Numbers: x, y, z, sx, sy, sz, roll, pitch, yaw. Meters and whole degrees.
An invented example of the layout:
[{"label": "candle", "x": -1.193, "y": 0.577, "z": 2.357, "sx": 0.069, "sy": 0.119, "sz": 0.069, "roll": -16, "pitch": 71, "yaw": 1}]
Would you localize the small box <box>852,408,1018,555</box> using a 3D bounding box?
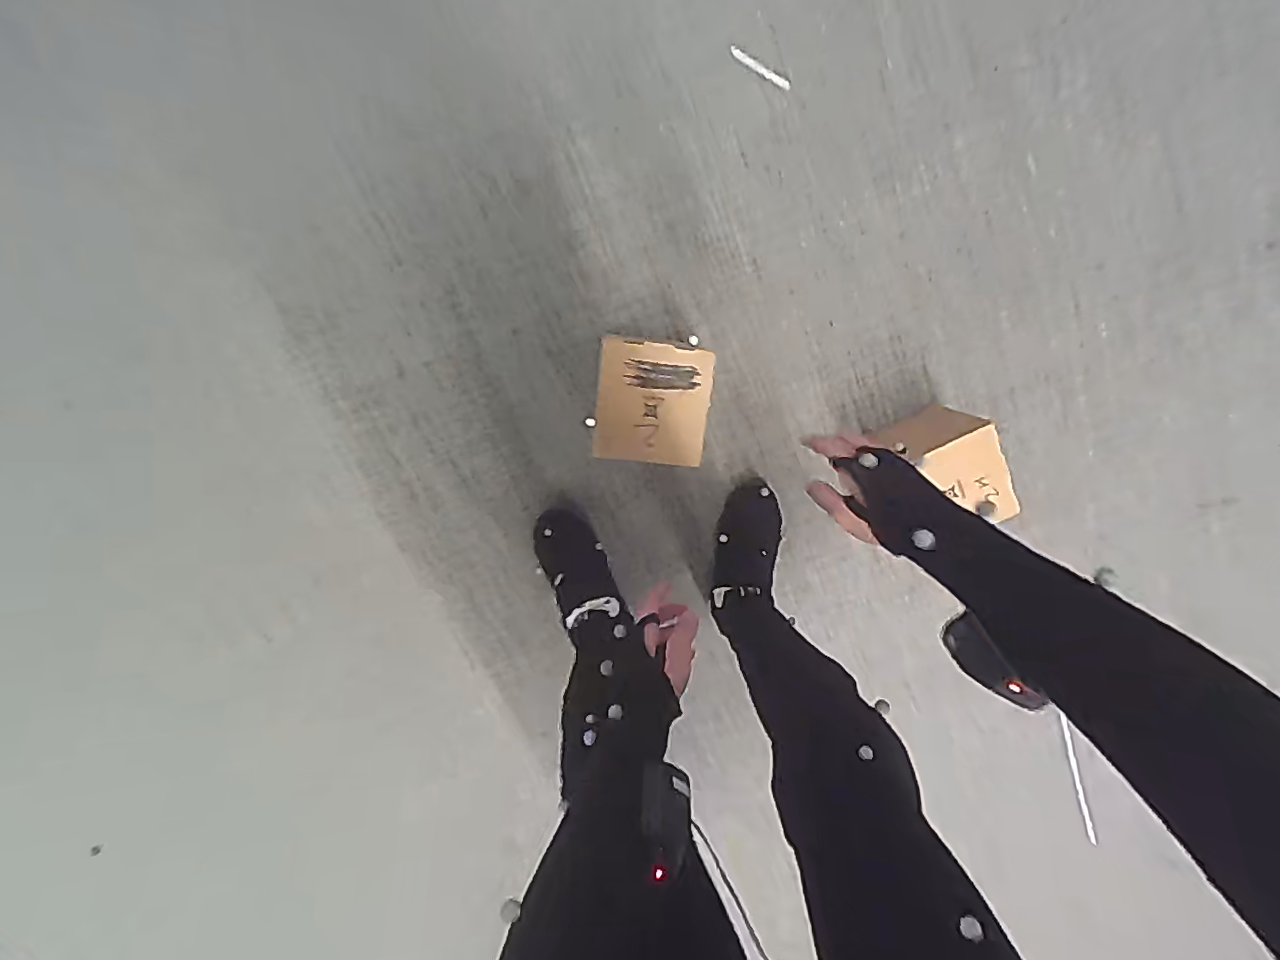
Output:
[{"label": "small box", "x": 0.483, "y": -0.005, "z": 0.917, "sx": 0.179, "sy": 0.176, "sz": 0.168, "roll": -26, "pitch": 107, "yaw": 6}]
